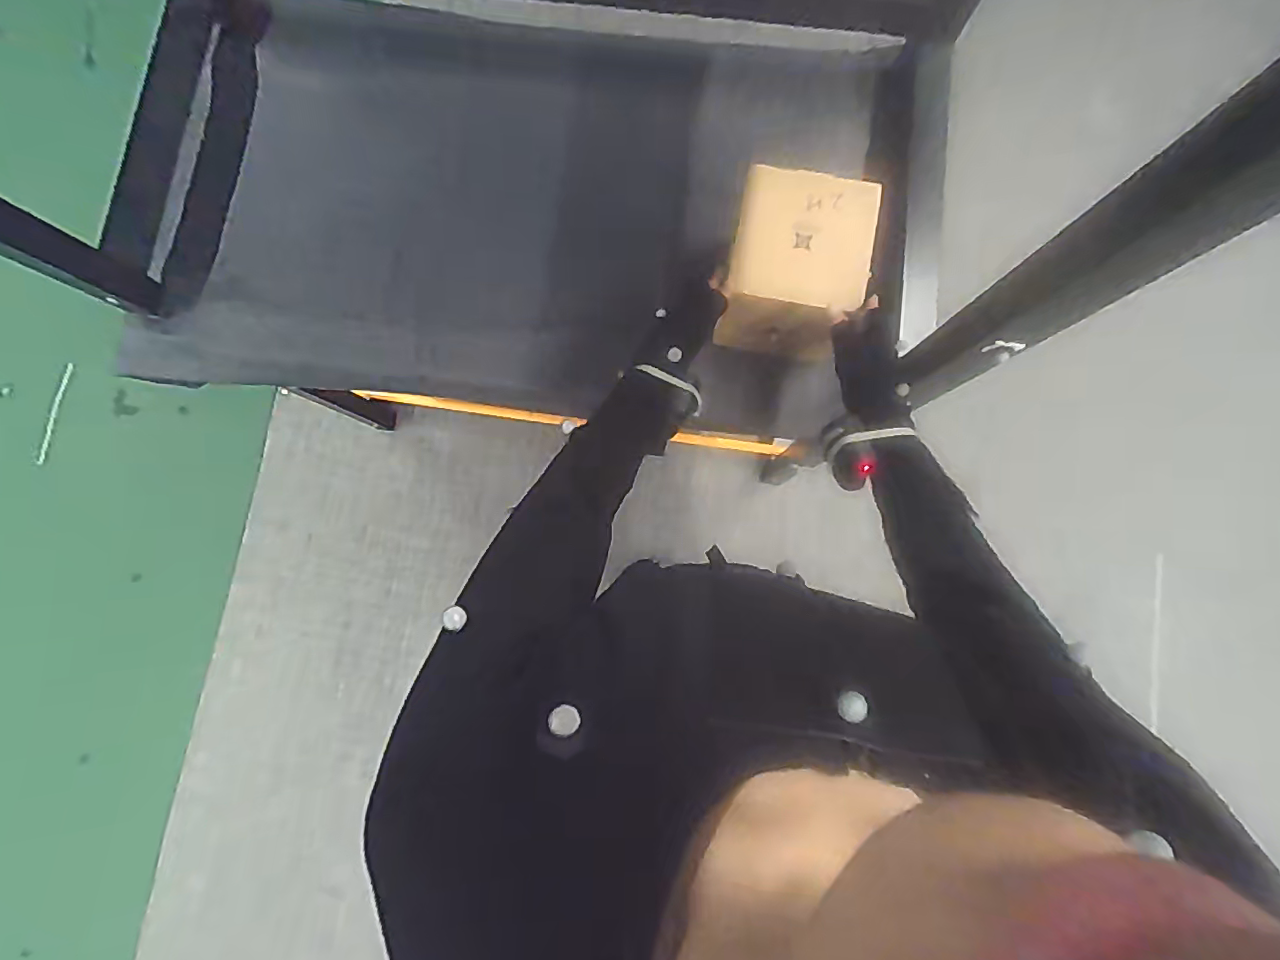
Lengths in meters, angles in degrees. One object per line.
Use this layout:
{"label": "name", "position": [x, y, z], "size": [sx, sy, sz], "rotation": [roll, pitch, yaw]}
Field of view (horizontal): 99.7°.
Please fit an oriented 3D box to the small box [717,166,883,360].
{"label": "small box", "position": [0.205, -0.283, 0.739], "size": [0.168, 0.176, 0.179], "rotation": [12, 82, 3]}
